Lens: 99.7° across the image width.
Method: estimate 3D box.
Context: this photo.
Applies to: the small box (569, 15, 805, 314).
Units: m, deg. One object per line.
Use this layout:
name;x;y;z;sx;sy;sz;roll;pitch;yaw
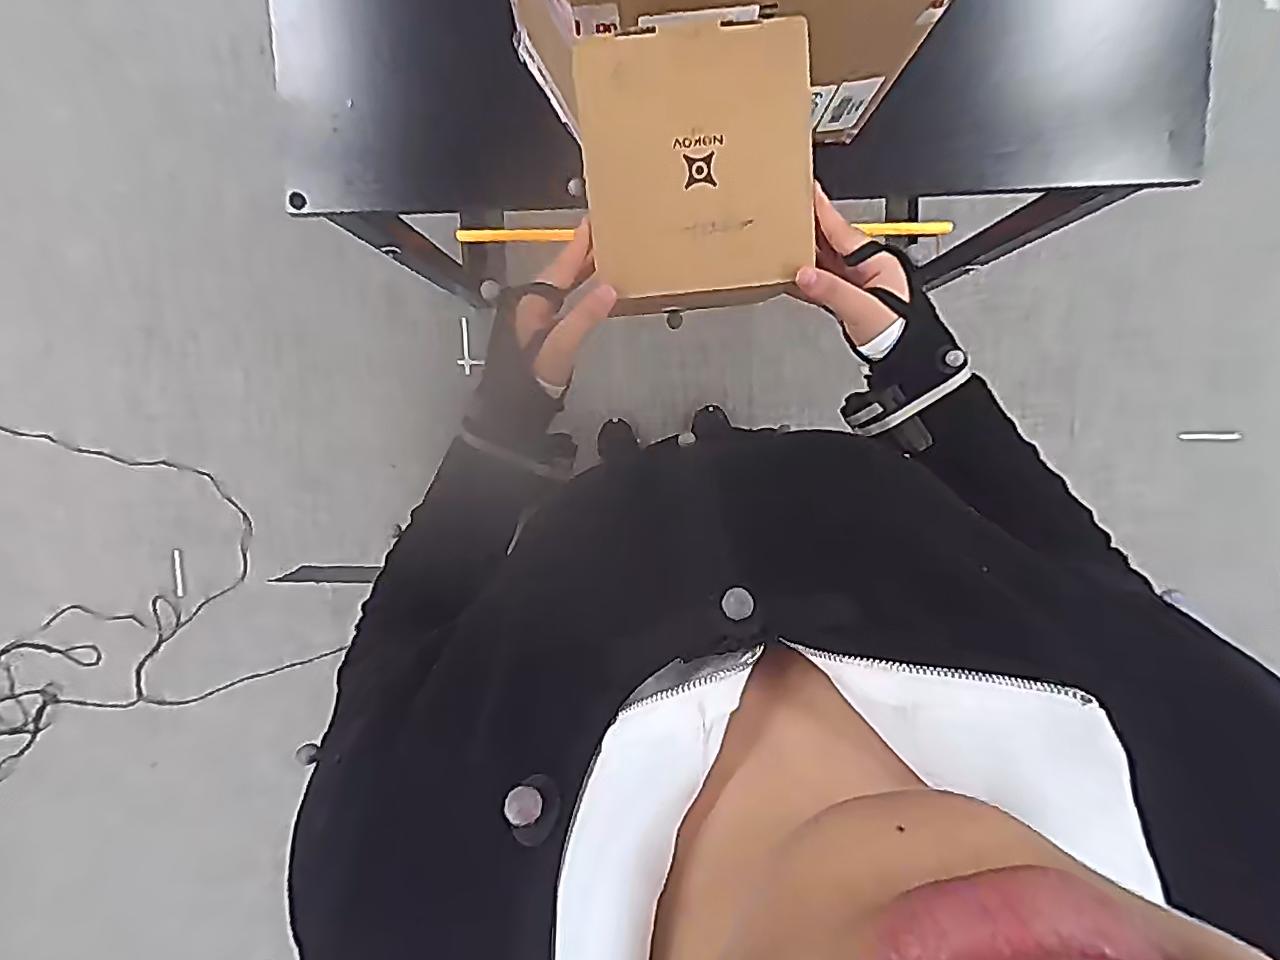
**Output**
small box;0.033;-0.247;0.467;0.168;0.176;0.179;-6;103;-1
